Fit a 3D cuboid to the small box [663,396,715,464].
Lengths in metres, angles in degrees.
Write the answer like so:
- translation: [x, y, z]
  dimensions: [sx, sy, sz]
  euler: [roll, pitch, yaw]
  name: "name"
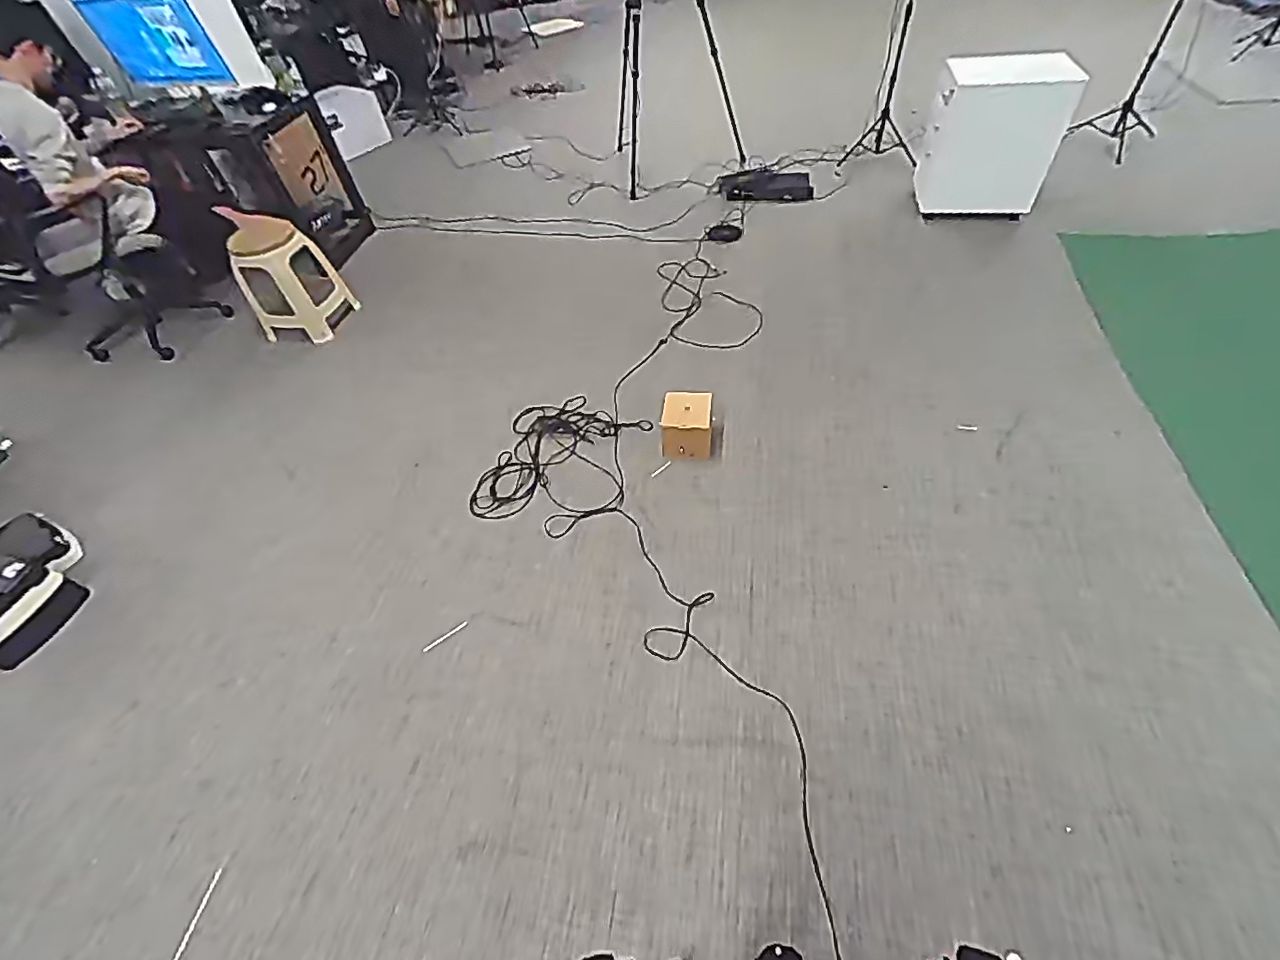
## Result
- translation: [0.179, -0.181, 1.943]
  dimensions: [0.168, 0.176, 0.179]
  euler: [3, 52, 10]
  name: "small box"
